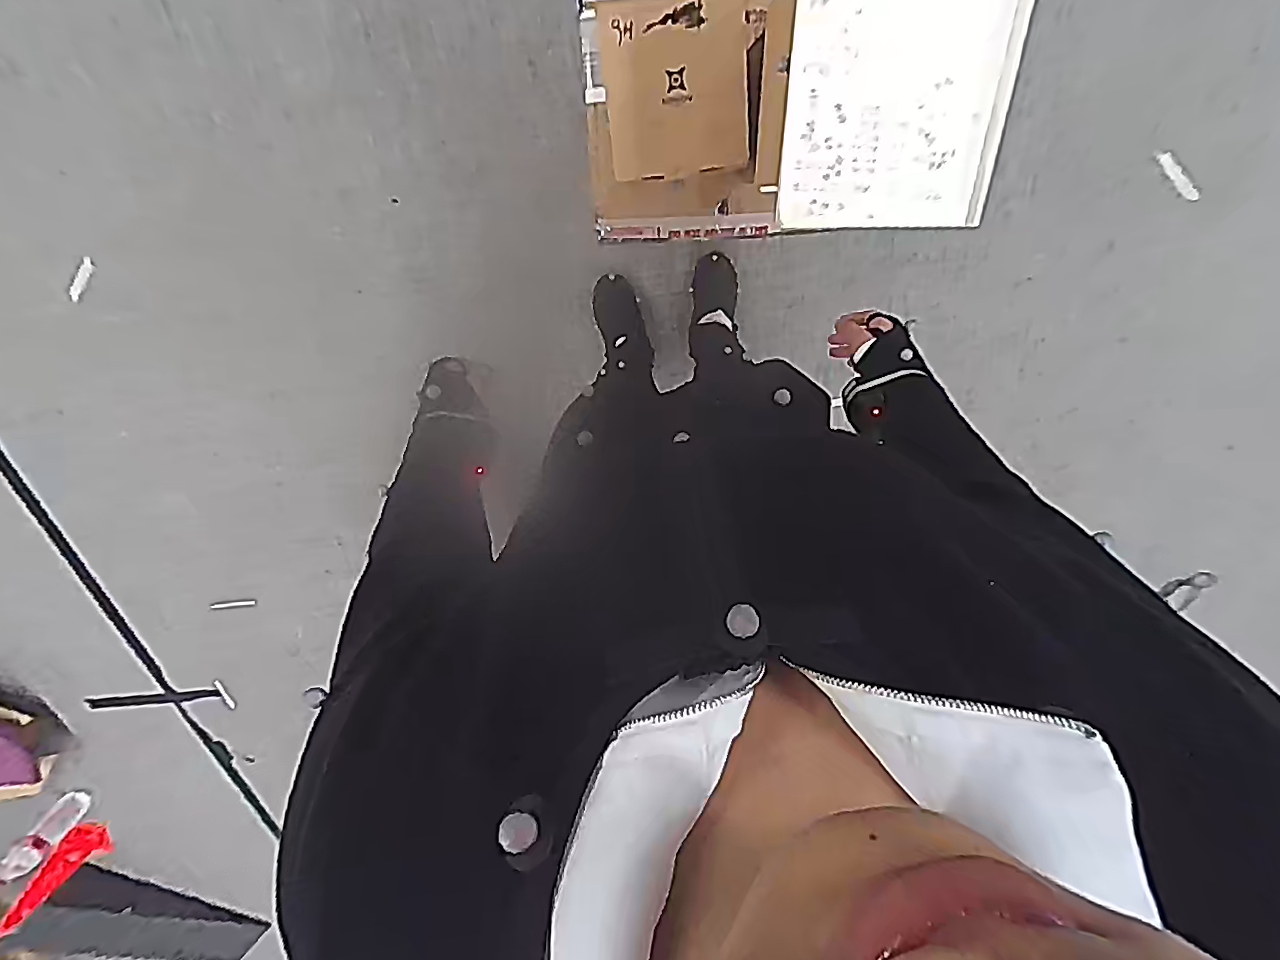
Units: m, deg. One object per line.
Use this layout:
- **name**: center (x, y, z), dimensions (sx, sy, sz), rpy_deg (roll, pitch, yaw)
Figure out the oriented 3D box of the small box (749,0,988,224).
- **small box**: center (0.218, -0.372, 0.574), dimensions (0.168, 0.176, 0.179), rpy_deg (-2, 118, -2)
